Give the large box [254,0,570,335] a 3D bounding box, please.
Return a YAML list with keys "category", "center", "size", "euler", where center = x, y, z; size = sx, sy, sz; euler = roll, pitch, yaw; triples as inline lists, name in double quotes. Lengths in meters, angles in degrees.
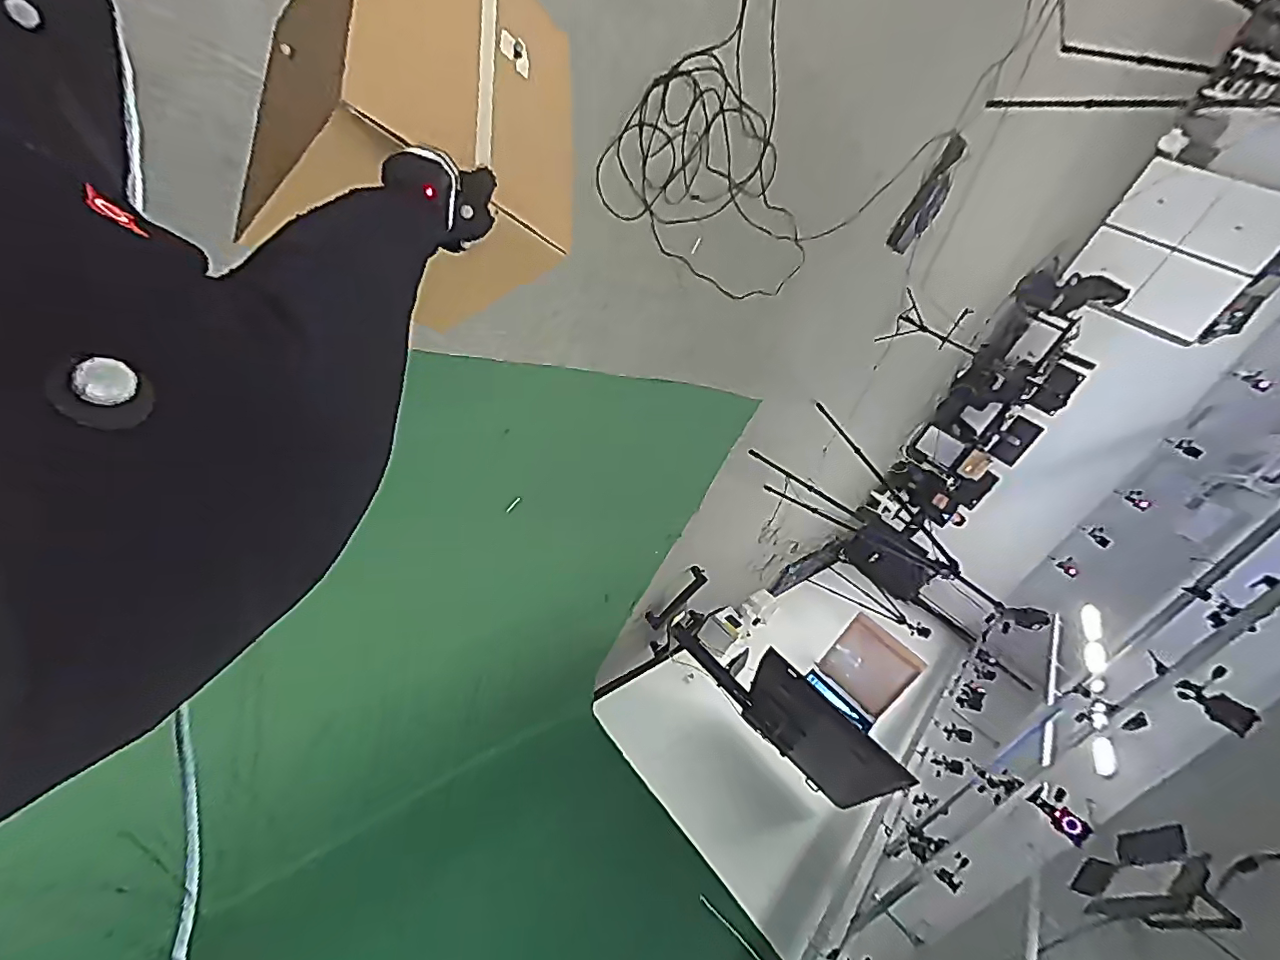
- category: "large box"
  center: [-0.324, -0.492, 0.795]
  size: [0.320, 0.408, 0.320]
  euler: [-15, 161, 36]
